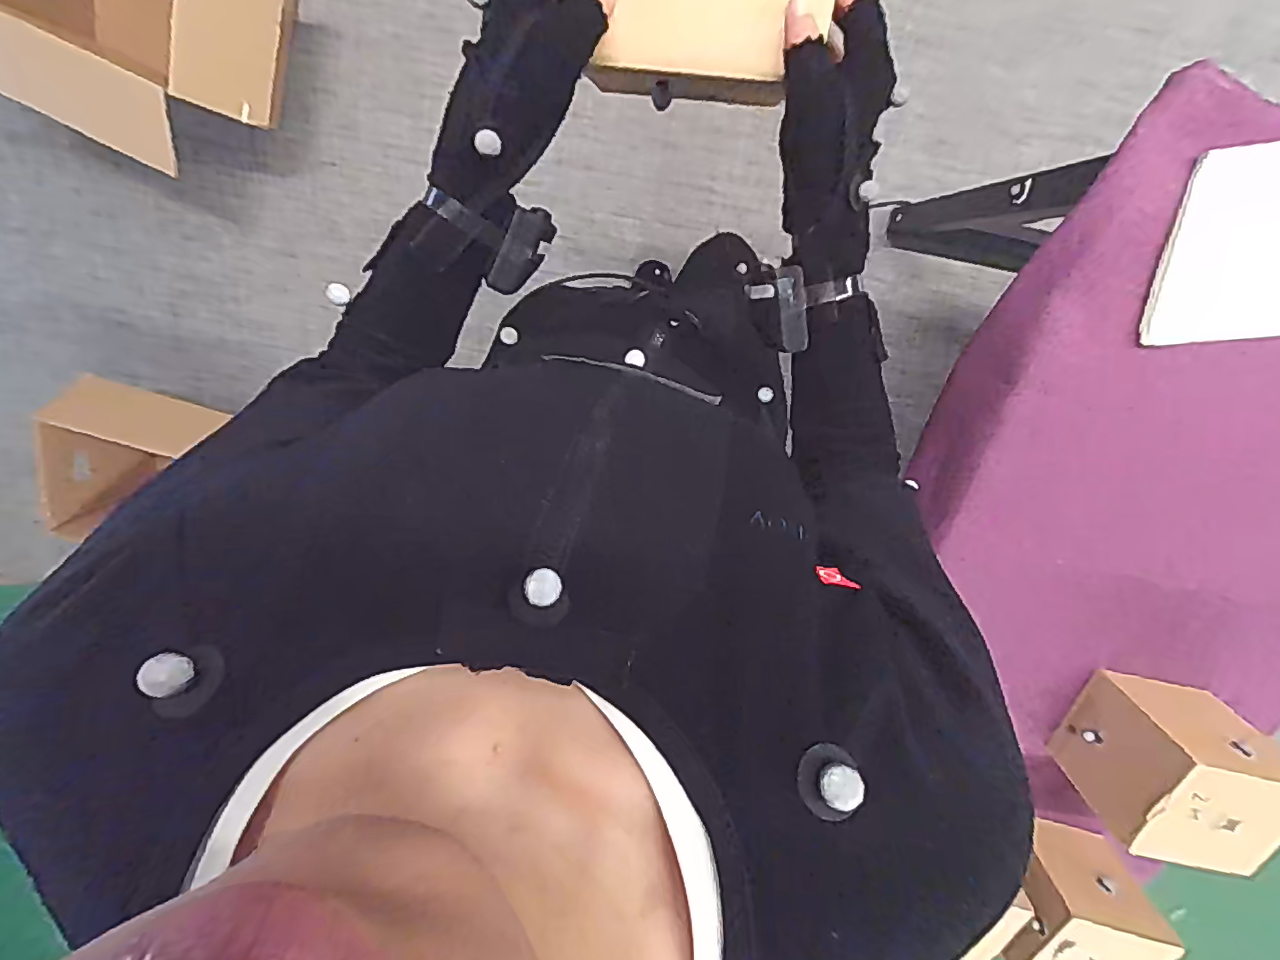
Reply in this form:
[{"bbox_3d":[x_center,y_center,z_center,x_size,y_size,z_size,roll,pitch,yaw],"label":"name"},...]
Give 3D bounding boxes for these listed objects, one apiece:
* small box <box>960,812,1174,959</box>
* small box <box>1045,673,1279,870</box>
[{"bbox_3d":[0.677,0.684,0.884,0.179,0.176,0.168,17,112,-4],"label":"small box"},{"bbox_3d":[0.740,0.402,0.766,0.179,0.176,0.168,12,112,-1],"label":"small box"}]
